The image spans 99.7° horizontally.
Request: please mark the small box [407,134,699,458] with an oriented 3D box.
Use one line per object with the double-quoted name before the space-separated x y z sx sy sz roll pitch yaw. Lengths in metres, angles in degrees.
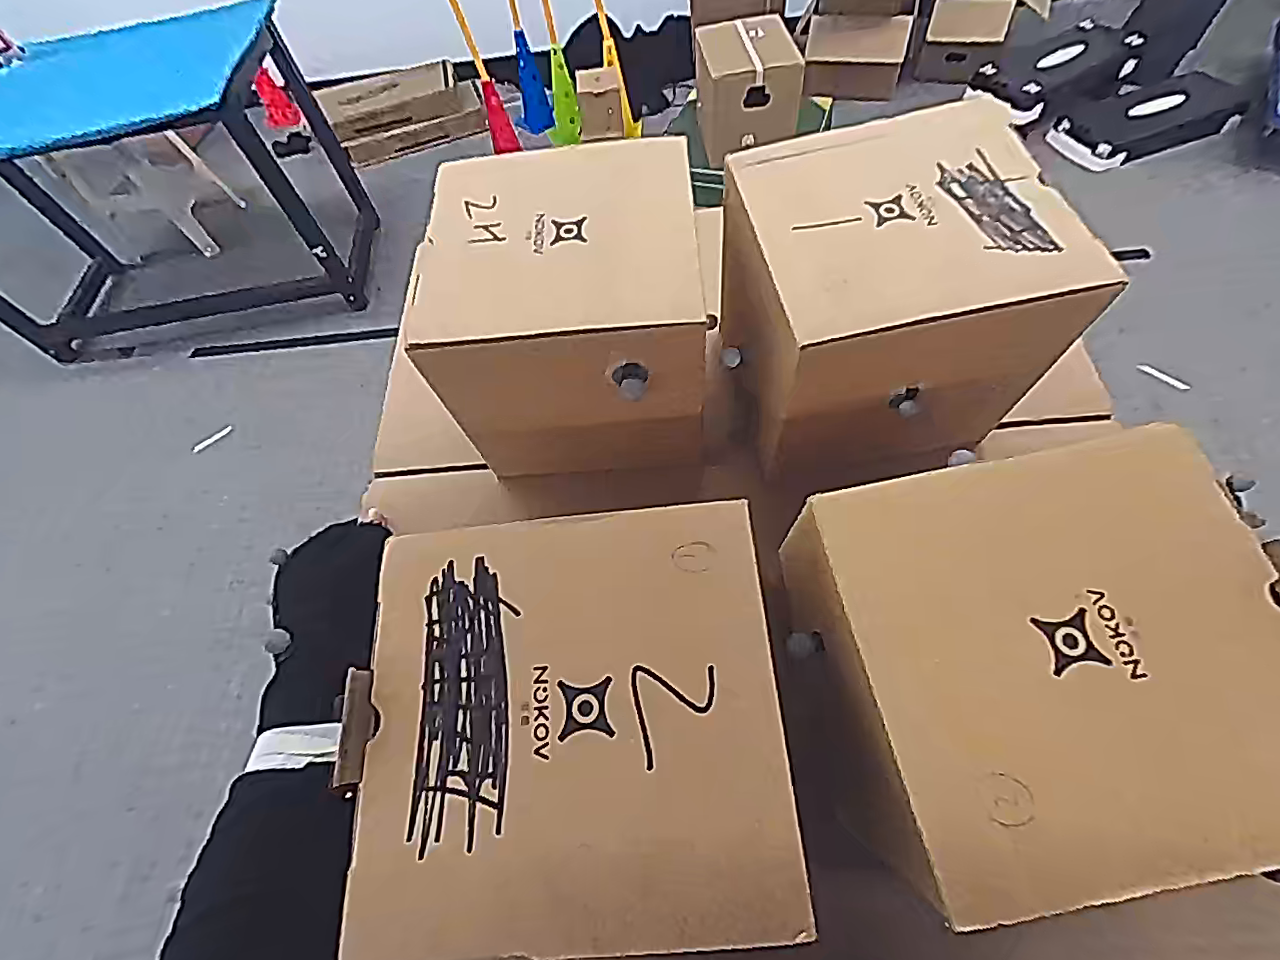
"small box" -0.047 -0.128 0.421 0.179 0.176 0.168 -3 64 5
